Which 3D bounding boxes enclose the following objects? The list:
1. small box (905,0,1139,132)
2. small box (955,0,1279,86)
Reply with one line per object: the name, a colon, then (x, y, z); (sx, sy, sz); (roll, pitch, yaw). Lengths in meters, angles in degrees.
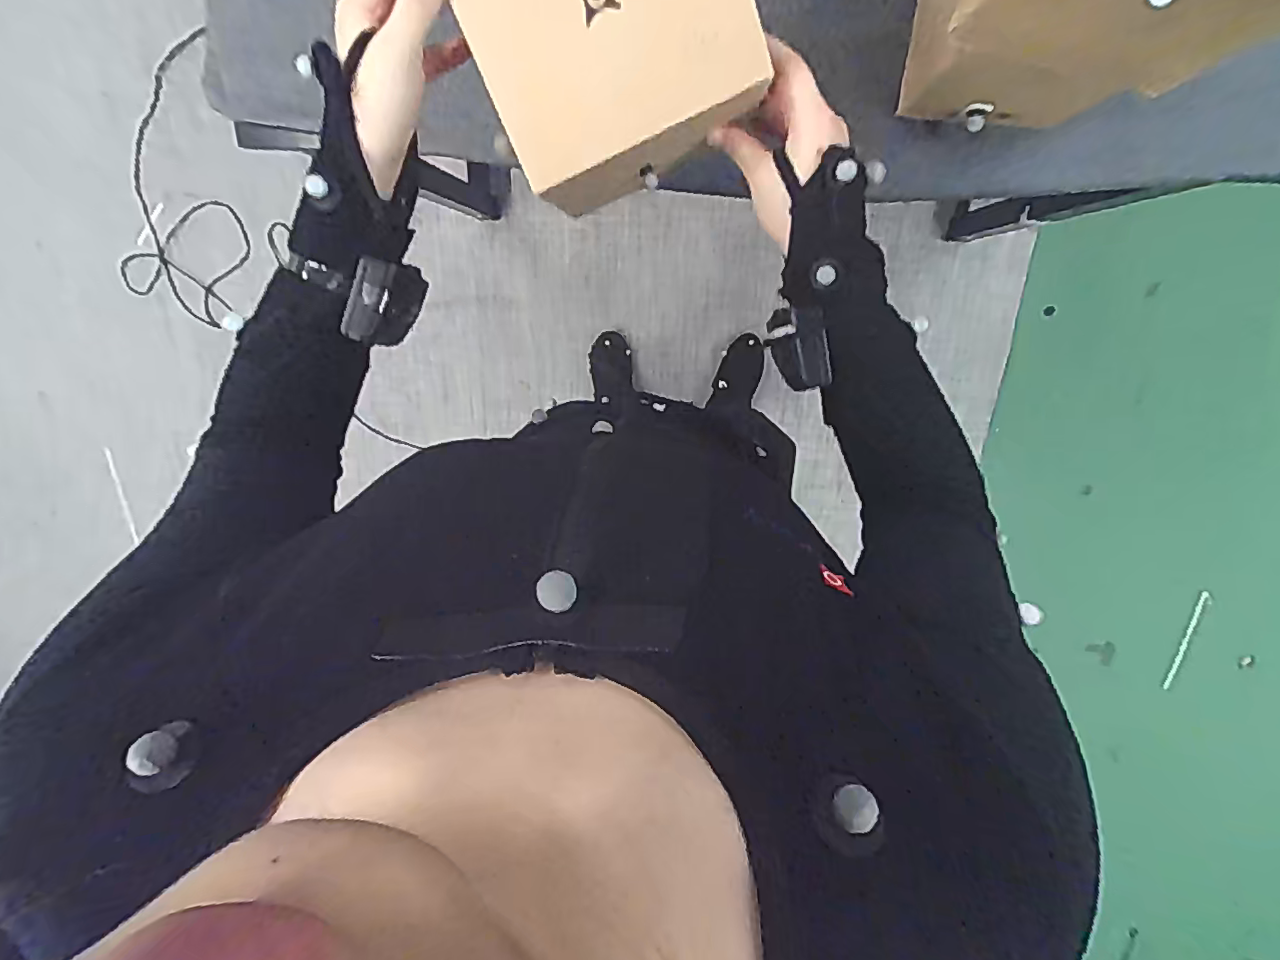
small box: (0.358, -0.438, 0.479); (0.168, 0.176, 0.179); (5, 108, 5)
small box: (0.340, -0.377, 0.329); (0.179, 0.176, 0.168); (16, 108, 2)
